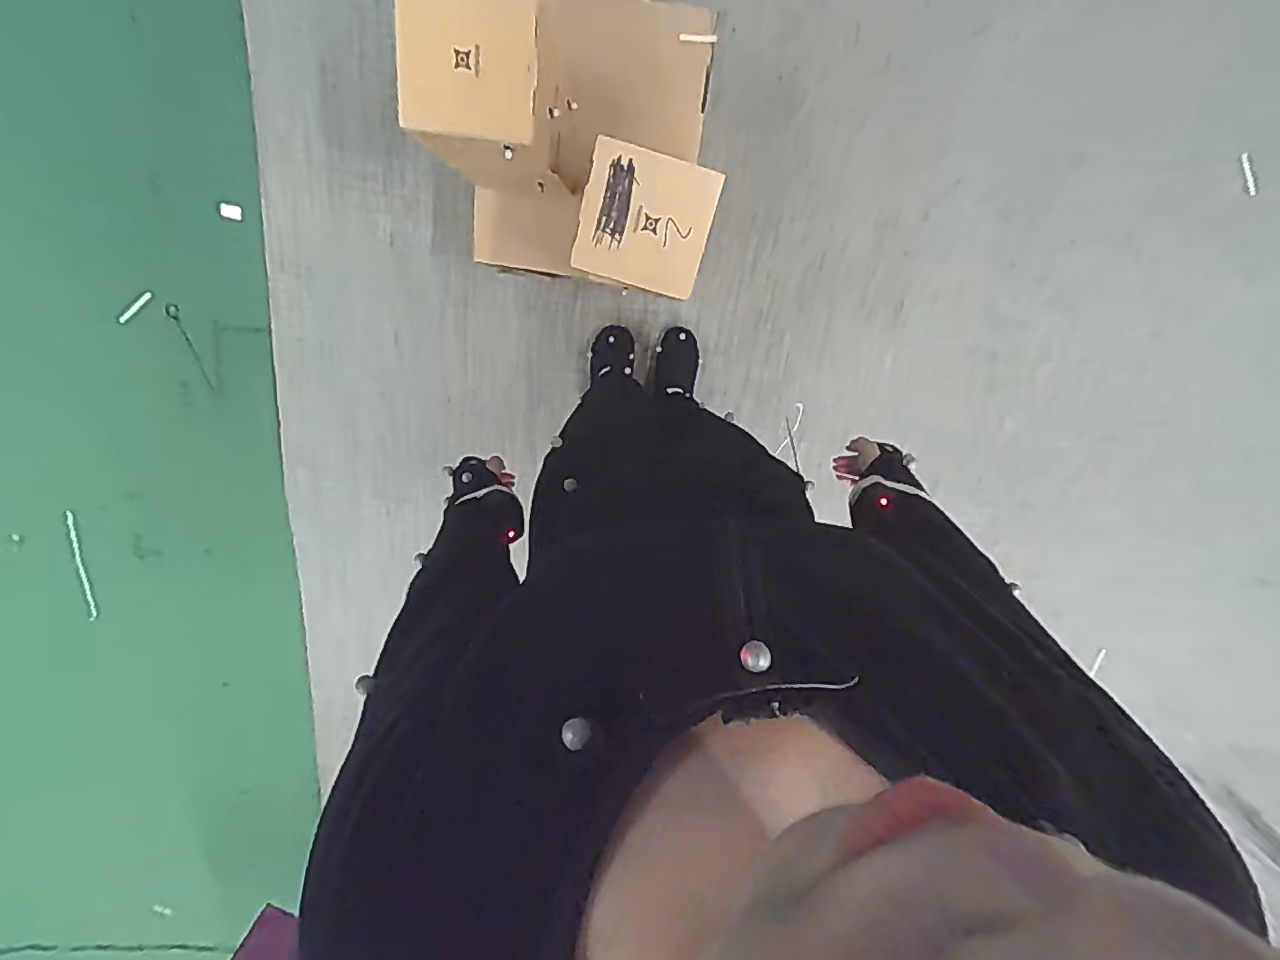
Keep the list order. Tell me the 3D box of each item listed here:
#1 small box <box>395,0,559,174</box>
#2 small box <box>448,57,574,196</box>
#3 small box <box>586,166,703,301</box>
[{"bbox_3d":[-0.216,-0.543,0.750,0.179,0.176,0.168,6,107,-2],"label":"small box"},{"bbox_3d":[-0.209,-0.588,0.907,0.179,0.176,0.168,5,107,0],"label":"small box"},{"bbox_3d":[0.004,-0.423,0.956,0.168,0.176,0.179,11,108,-4],"label":"small box"}]
